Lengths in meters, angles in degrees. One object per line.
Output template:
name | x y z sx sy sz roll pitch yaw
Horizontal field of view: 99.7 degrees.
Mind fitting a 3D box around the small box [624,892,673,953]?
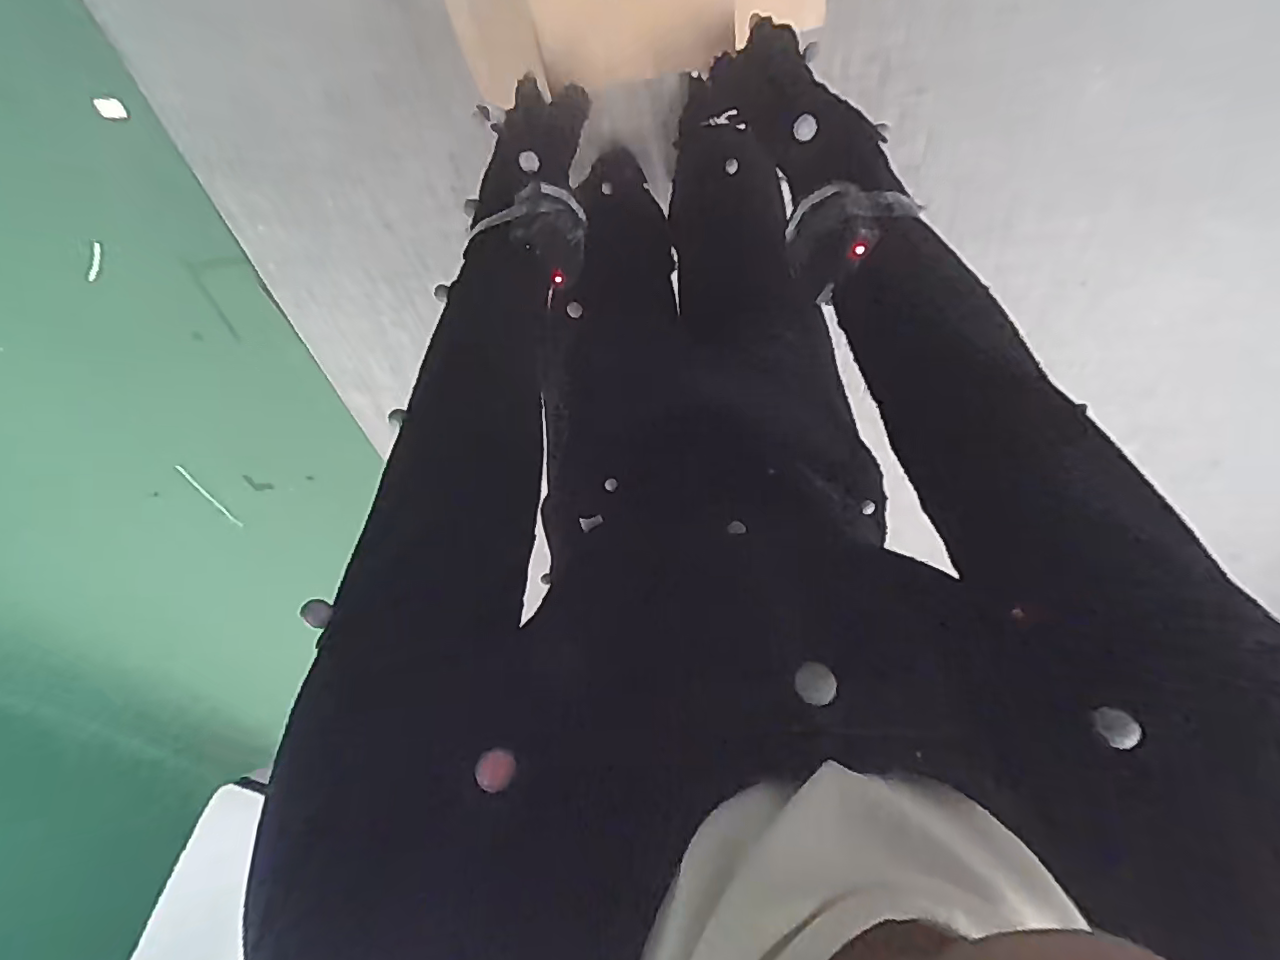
small box | 0.032 1.642 2.008 0.168 0.176 0.179 -4 138 7

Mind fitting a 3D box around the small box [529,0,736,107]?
small box | -0.008 -0.483 0.503 0.179 0.176 0.168 -7 139 9
